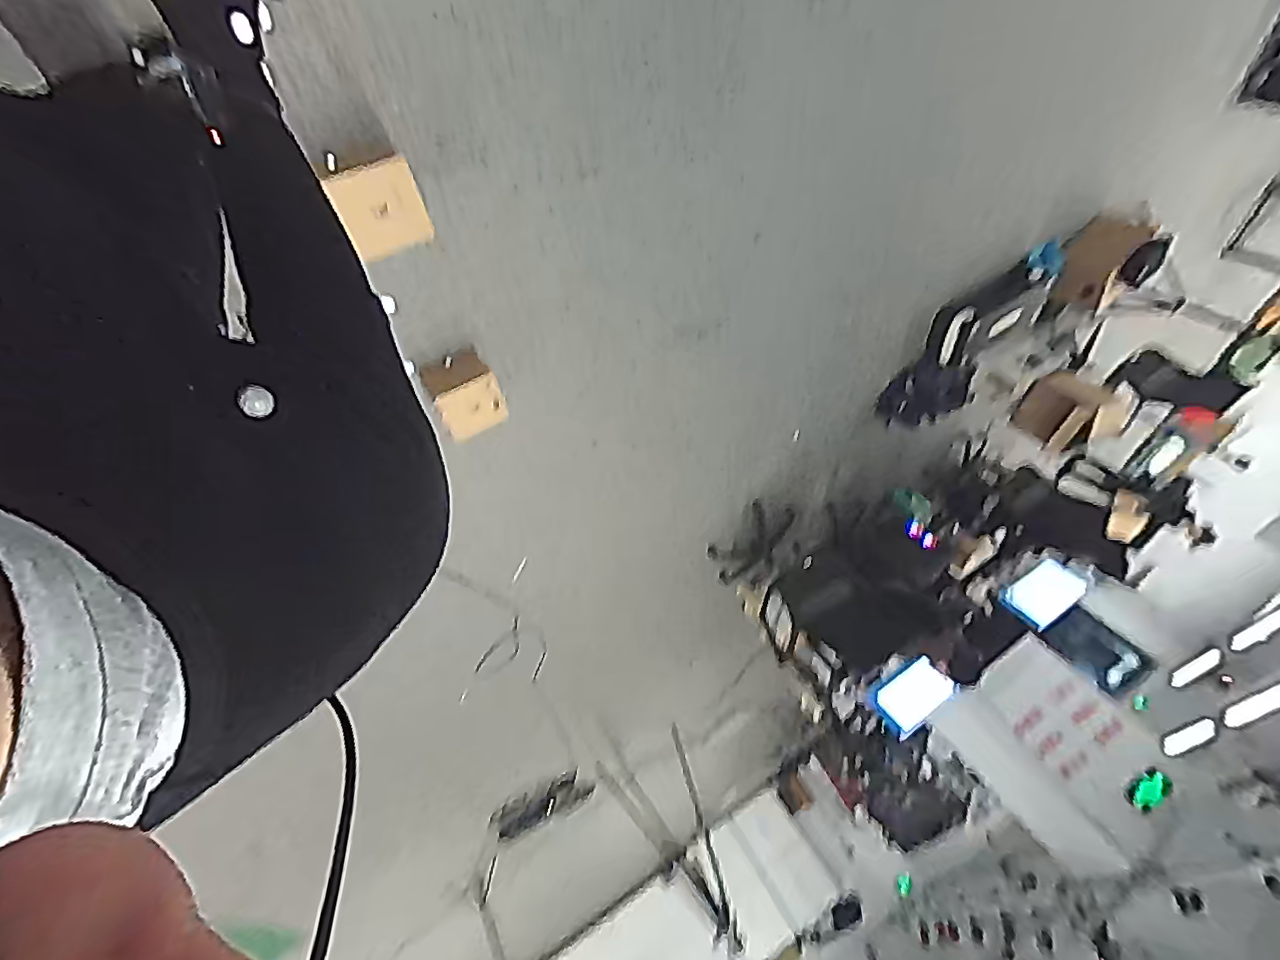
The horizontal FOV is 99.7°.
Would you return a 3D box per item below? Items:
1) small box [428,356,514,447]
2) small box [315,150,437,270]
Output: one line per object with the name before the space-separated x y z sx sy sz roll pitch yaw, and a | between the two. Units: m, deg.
small box | -0.501 -0.233 1.587 0.179 0.176 0.168 -29 140 -15
small box | -0.581 -0.594 1.185 0.179 0.176 0.168 -32 141 -15
